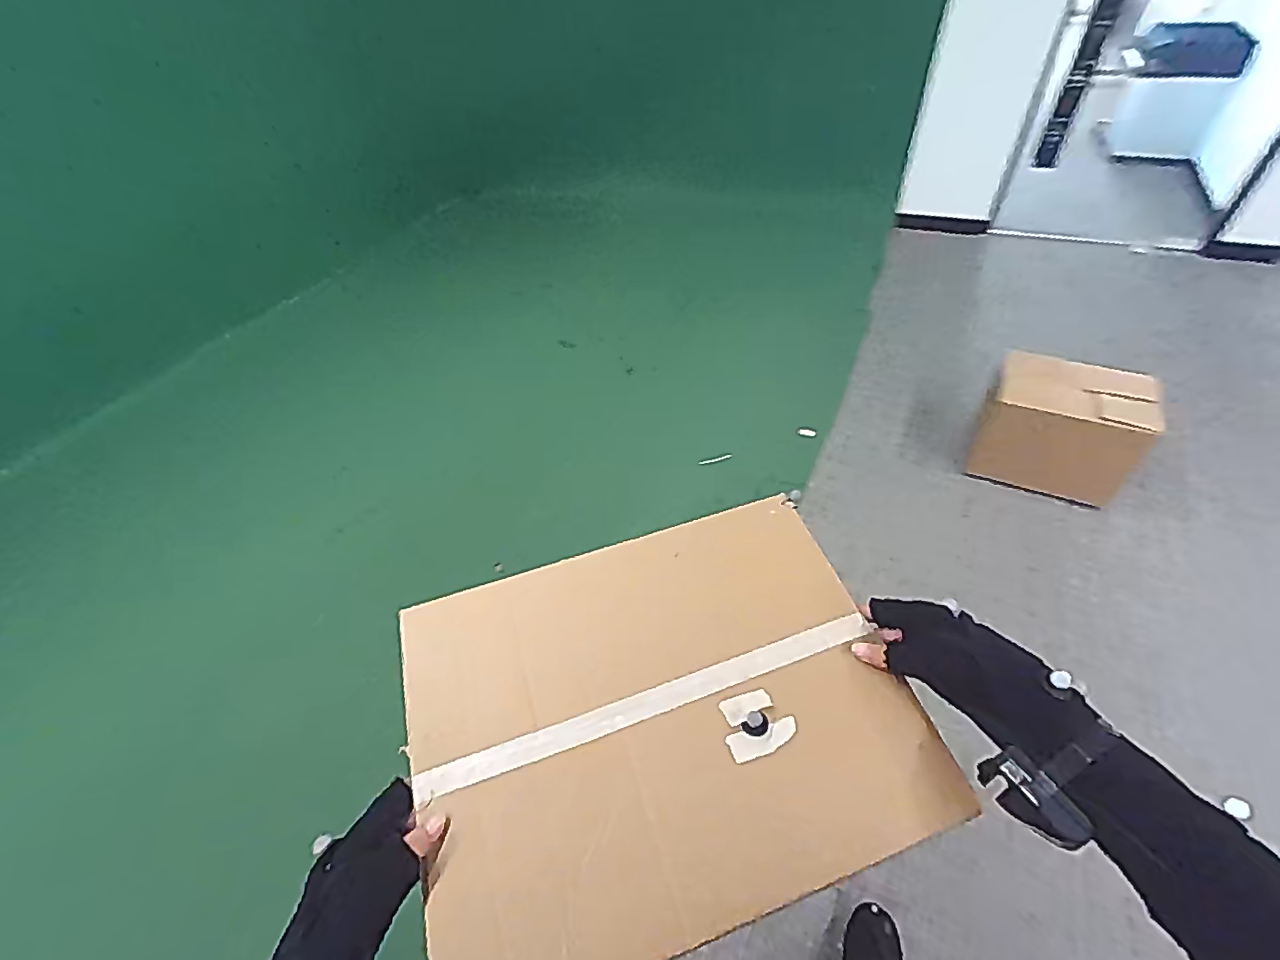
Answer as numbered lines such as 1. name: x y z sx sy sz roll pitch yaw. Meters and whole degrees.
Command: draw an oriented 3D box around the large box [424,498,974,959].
1. large box: 0.027 0.275 0.584 0.408 0.320 0.320 -15 54 -11
